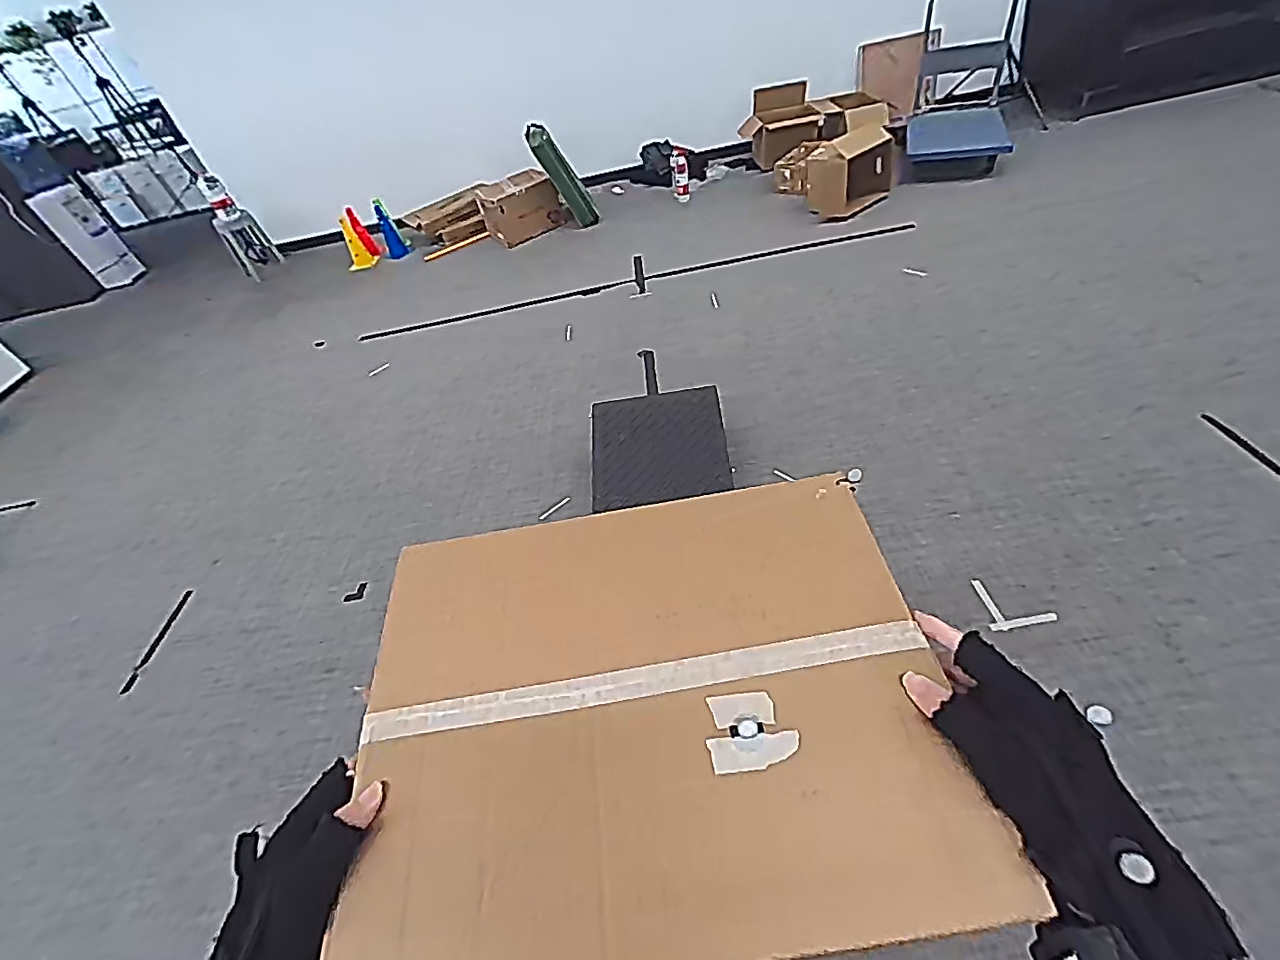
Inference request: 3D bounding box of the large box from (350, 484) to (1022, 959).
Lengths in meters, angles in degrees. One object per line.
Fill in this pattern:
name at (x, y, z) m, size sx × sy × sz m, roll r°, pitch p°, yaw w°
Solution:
large box at (0.022, 0.248, 0.515) m, size 0.408 × 0.320 × 0.320 m, roll -10°, pitch 50°, yaw 1°
